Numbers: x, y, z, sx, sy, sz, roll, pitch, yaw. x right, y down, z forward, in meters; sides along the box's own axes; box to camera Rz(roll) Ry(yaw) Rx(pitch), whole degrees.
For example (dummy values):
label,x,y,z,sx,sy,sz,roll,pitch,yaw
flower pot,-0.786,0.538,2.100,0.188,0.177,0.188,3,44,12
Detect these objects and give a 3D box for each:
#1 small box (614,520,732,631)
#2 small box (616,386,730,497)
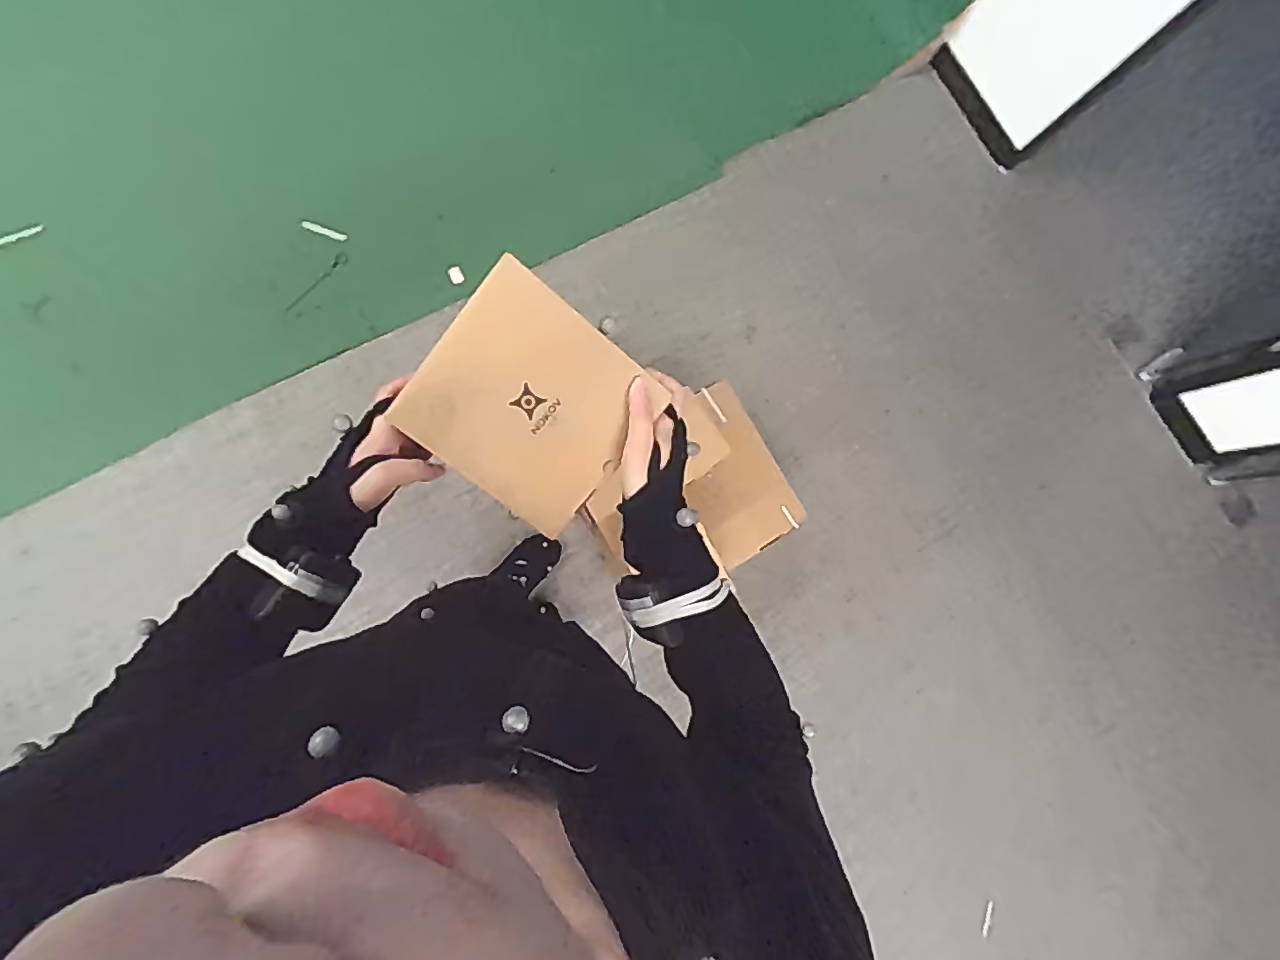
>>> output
label,x,y,z,sx,sy,sz,roll,pitch,yaw
small box,0.062,0.196,1.149,0.179,0.176,0.168,-26,88,-13
small box,0.065,-0.074,1.191,0.168,0.176,0.179,-32,88,-14
